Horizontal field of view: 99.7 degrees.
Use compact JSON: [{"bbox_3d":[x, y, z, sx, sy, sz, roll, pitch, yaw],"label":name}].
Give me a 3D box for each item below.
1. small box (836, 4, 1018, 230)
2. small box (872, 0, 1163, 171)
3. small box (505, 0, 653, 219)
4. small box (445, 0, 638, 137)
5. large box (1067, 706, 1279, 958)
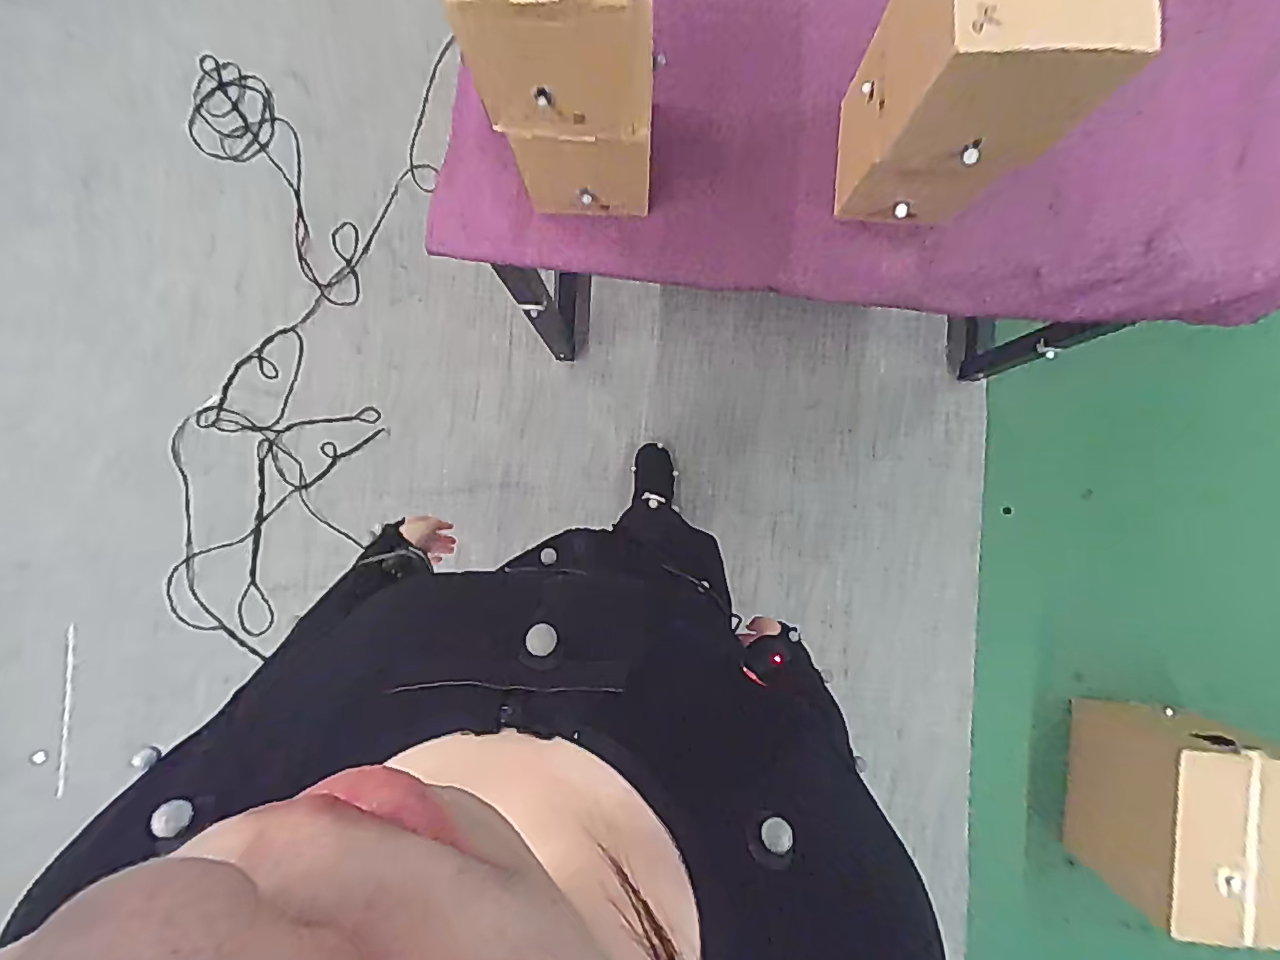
[{"bbox_3d":[0.365,-0.454,0.697,0.168,0.176,0.179,5,88,2],"label":"small box"},{"bbox_3d":[0.352,-0.433,0.532,0.179,0.176,0.168,1,88,1],"label":"small box"},{"bbox_3d":[-0.070,-0.470,0.703,0.168,0.176,0.179,2,87,2],"label":"small box"},{"bbox_3d":[-0.087,-0.486,0.542,0.168,0.176,0.179,2,87,1],"label":"small box"},{"bbox_3d":[1.294,0.804,1.292,0.320,0.320,0.408,5,89,2],"label":"large box"}]
